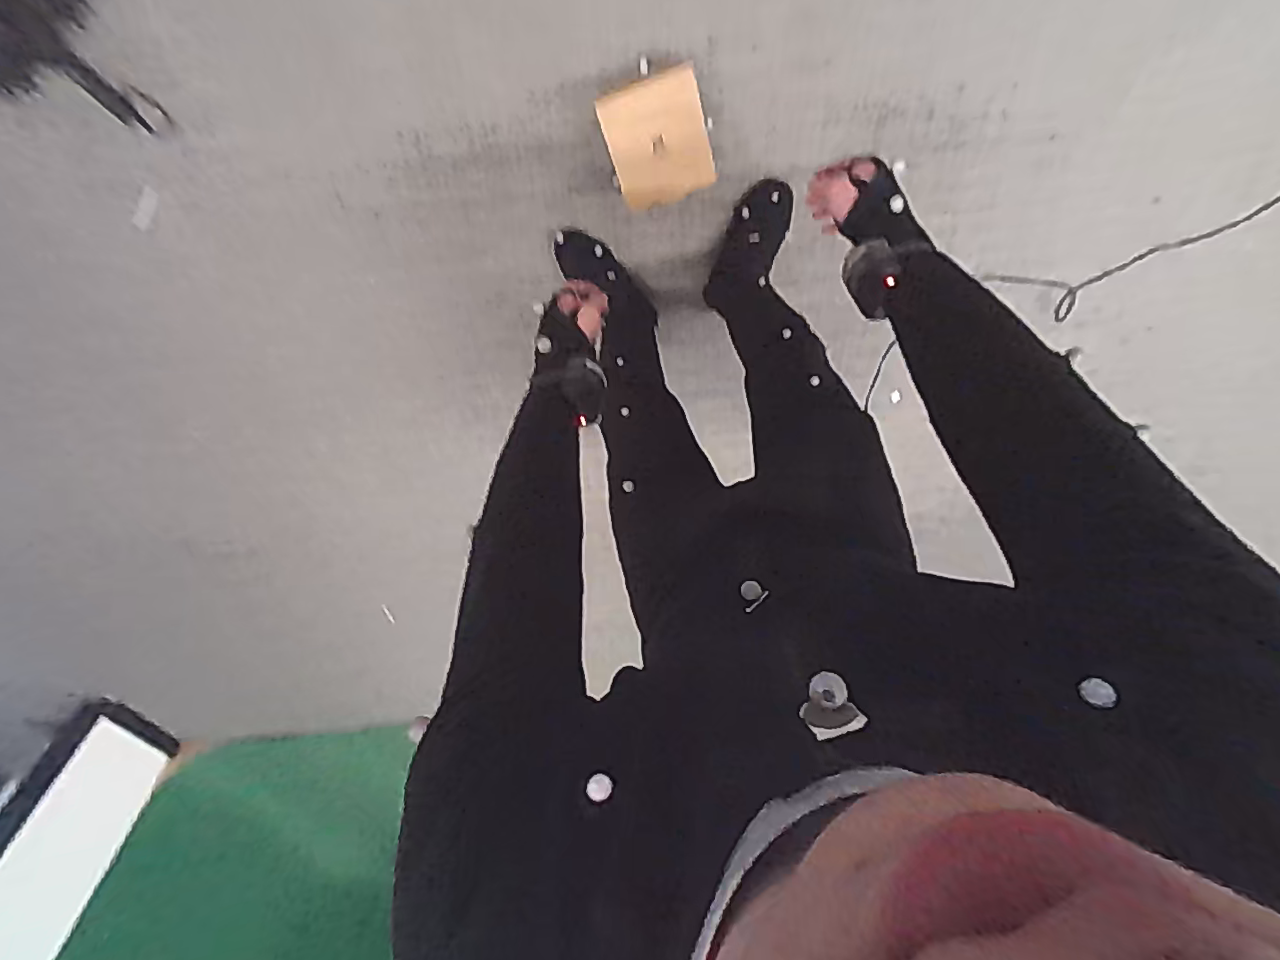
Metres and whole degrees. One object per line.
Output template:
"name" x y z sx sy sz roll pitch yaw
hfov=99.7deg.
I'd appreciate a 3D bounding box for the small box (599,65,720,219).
"small box" 0.037 -0.603 0.964 0.168 0.176 0.179 -16 129 12
